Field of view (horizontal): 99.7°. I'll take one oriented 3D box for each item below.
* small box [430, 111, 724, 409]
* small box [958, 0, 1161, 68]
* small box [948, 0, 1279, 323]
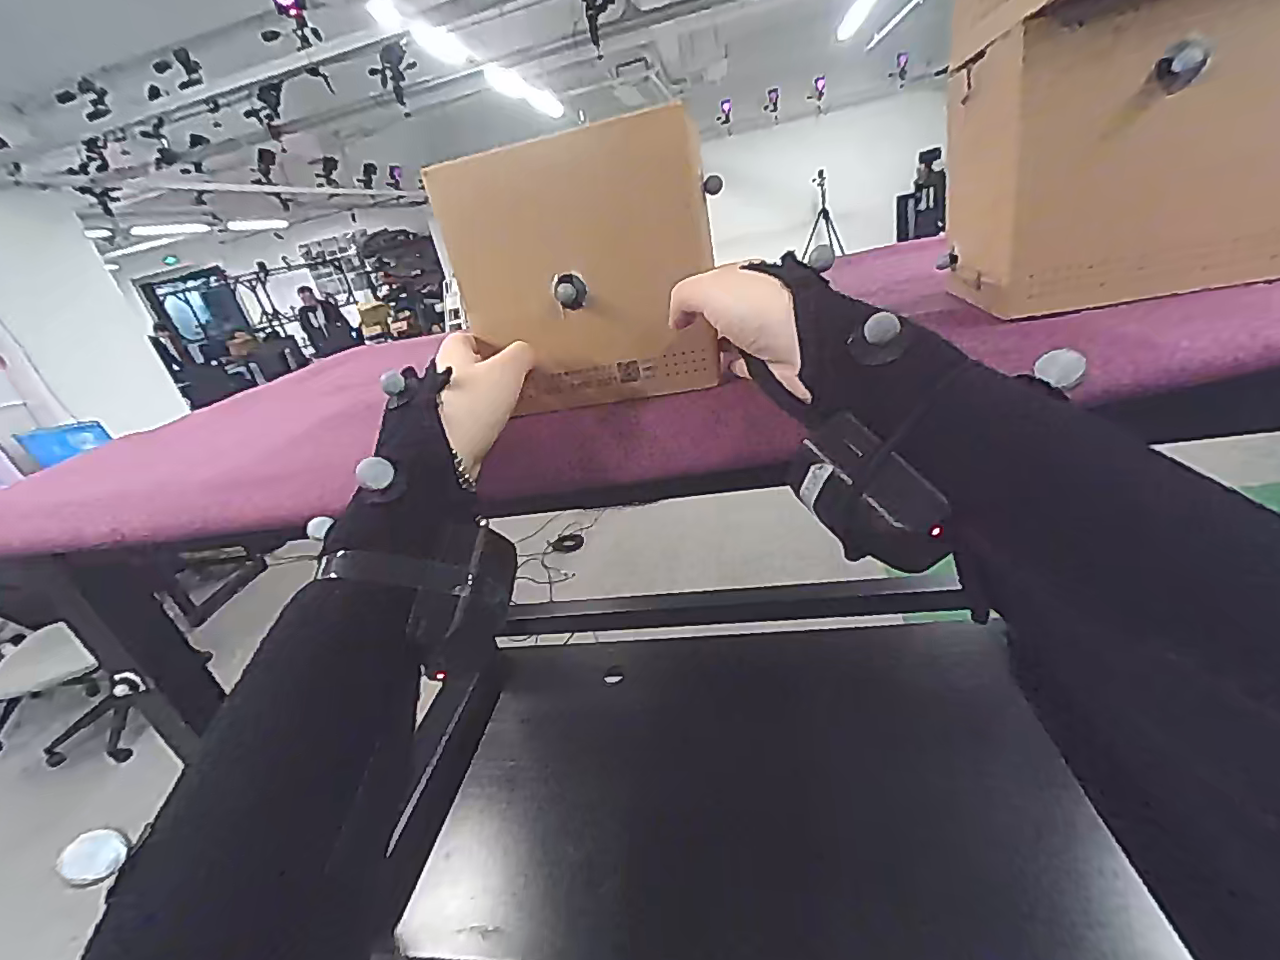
[{"bbox_3d":[-0.025,-0.160,0.423,0.168,0.176,0.179,-6,26,11],"label":"small box"},{"bbox_3d":[0.292,-0.353,0.296,0.179,0.176,0.168,-6,24,14],"label":"small box"},{"bbox_3d":[0.329,-0.214,0.374,0.179,0.176,0.168,-4,25,18],"label":"small box"}]
